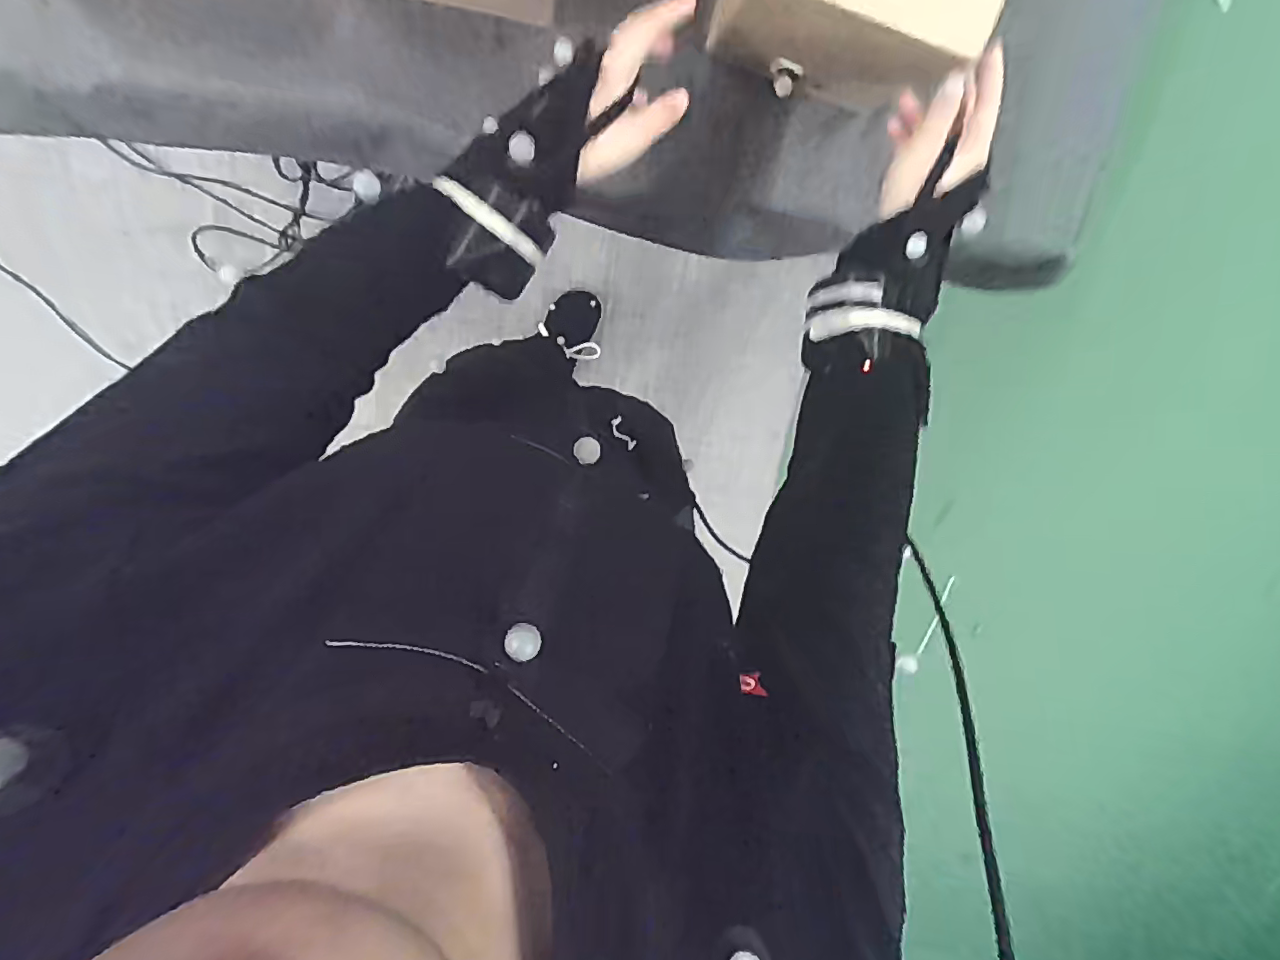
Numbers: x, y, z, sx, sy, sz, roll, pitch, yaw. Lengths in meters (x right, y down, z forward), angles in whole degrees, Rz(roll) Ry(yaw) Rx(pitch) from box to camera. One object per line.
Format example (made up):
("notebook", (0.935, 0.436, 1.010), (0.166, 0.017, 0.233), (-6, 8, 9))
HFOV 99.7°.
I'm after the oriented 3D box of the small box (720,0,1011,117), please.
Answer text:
("small box", (0.172, -0.407, 0.401), (0.168, 0.176, 0.179), (12, 112, -10))
